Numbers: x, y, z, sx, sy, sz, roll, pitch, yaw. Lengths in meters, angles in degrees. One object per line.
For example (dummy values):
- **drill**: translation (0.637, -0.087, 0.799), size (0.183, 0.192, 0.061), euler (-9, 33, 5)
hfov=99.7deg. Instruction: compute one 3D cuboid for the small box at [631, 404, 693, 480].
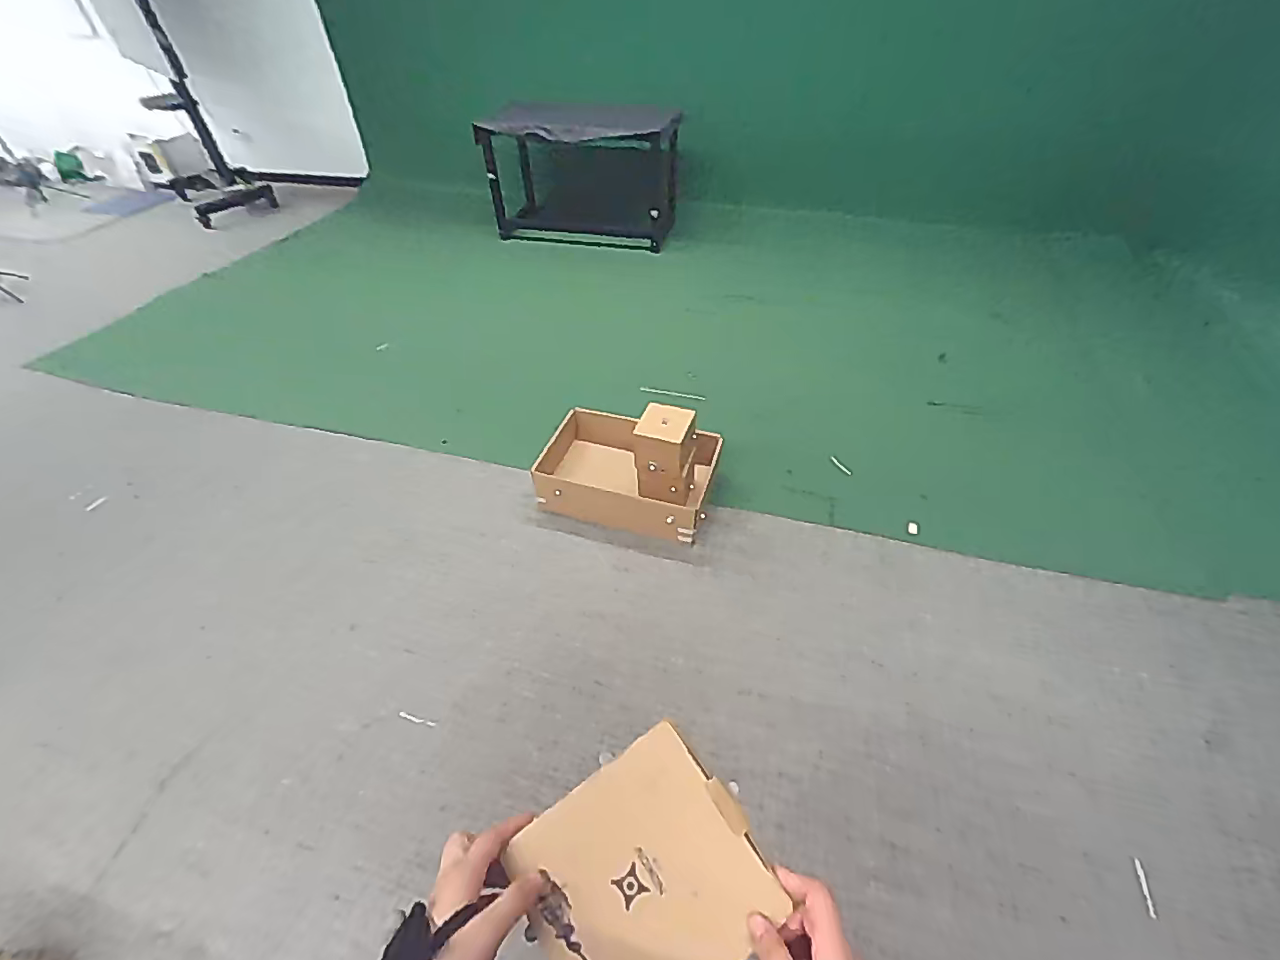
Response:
- **small box**: translation (0.076, -0.130, 1.834), size (0.168, 0.176, 0.179), euler (13, 48, 16)
